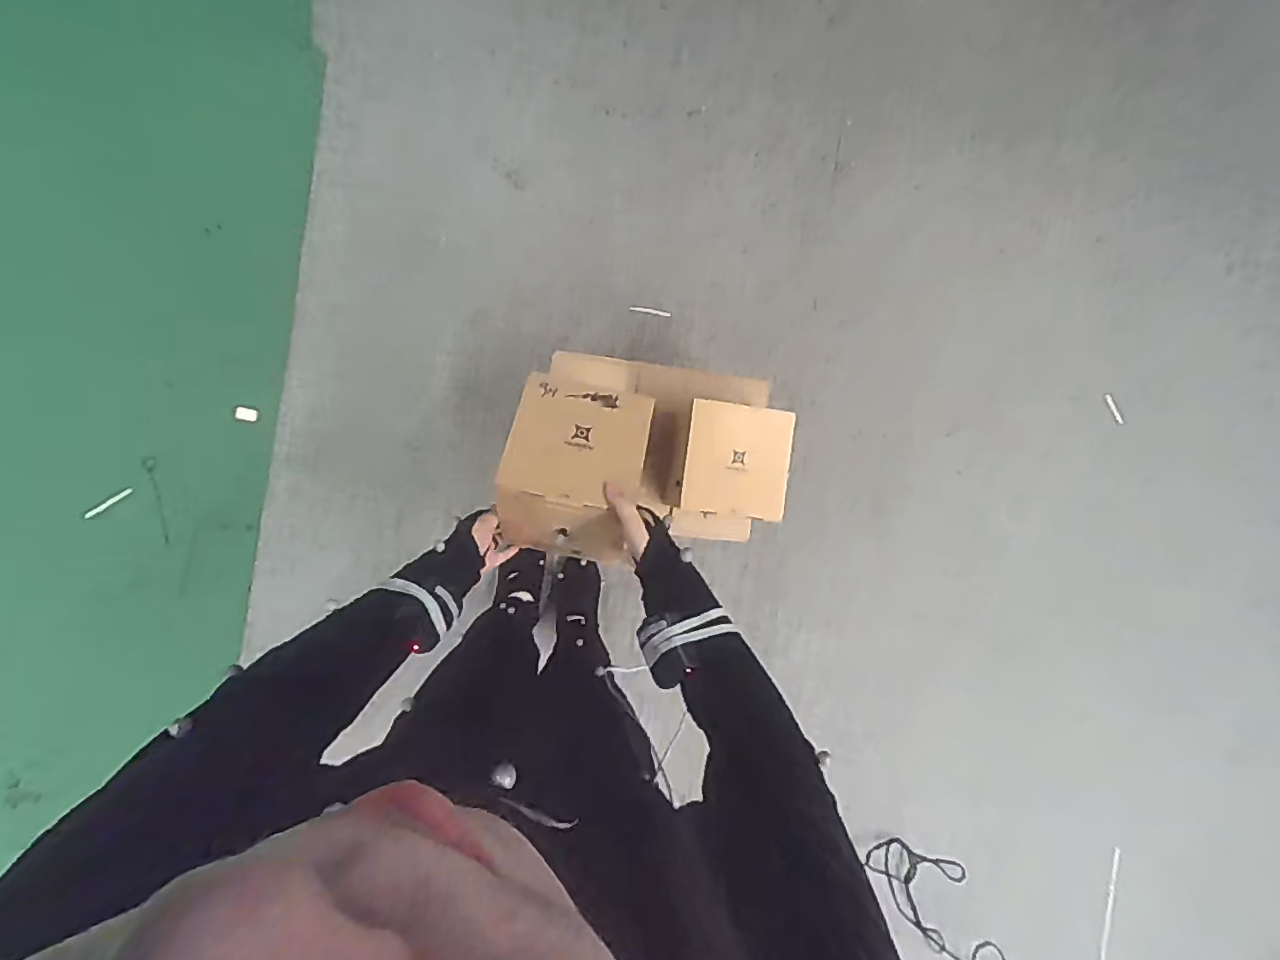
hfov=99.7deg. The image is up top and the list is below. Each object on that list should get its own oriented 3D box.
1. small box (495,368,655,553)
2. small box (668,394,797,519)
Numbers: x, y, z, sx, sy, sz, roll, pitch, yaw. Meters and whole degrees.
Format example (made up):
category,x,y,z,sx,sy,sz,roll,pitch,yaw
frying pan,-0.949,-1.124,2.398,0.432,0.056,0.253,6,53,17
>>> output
category,x,y,z,sx,sy,sz,roll,pitch,yaw
small box,-0.084,-0.017,0.731,0.168,0.176,0.179,12,61,-3
small box,0.146,-0.038,0.911,0.168,0.176,0.179,7,91,-6
